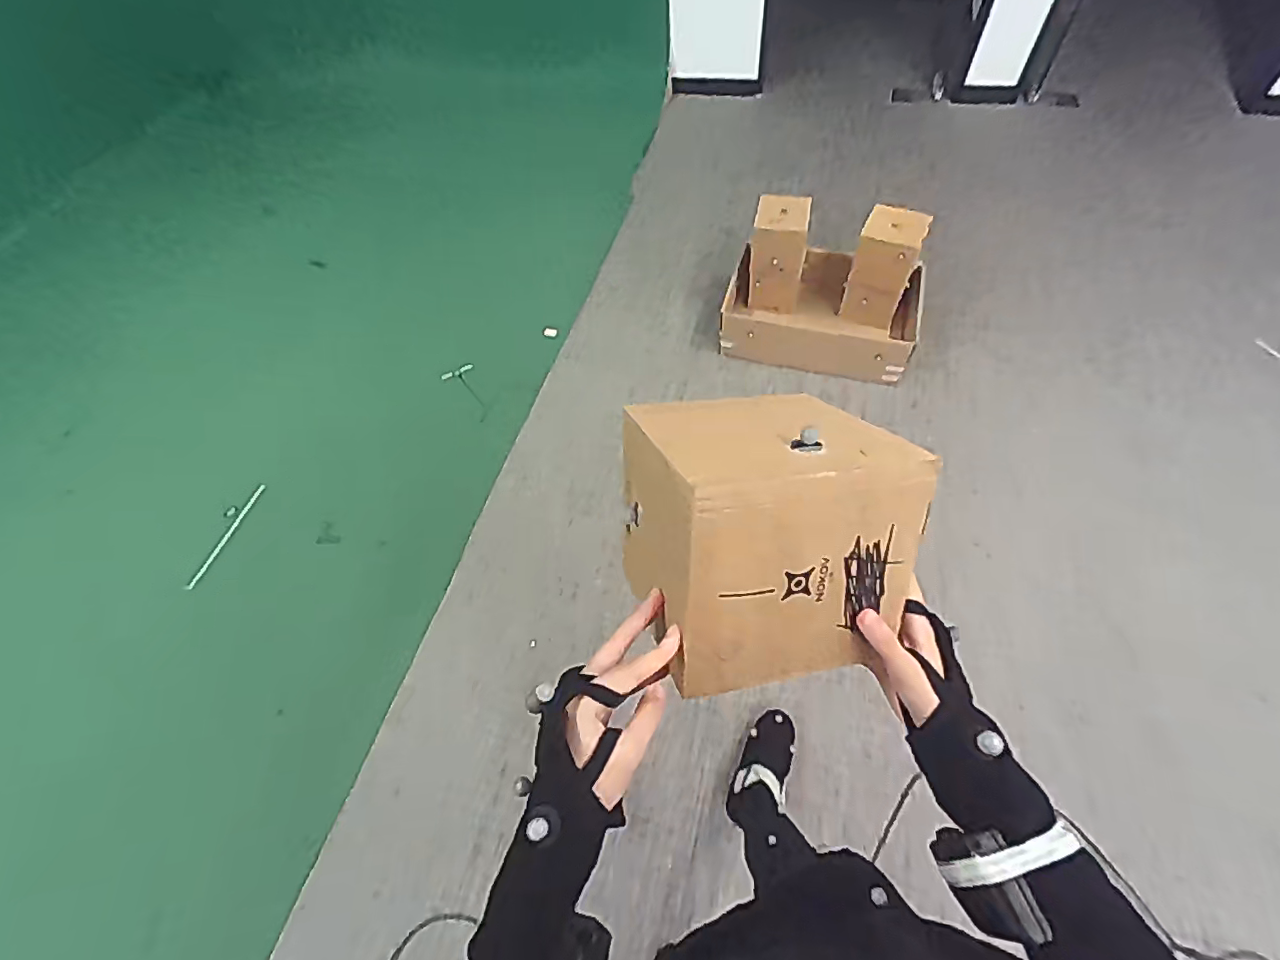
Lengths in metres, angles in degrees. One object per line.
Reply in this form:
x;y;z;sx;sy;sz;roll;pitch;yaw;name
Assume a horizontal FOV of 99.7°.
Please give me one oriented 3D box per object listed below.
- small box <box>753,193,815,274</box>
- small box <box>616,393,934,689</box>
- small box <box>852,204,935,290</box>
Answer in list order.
0.466;-0.805;1.770;0.168;0.176;0.179;10;62;13;small box
0.086;0.031;0.434;0.179;0.168;0.176;-6;25;-14;small box
0.784;-0.725;1.691;0.179;0.176;0.168;23;66;18;small box
